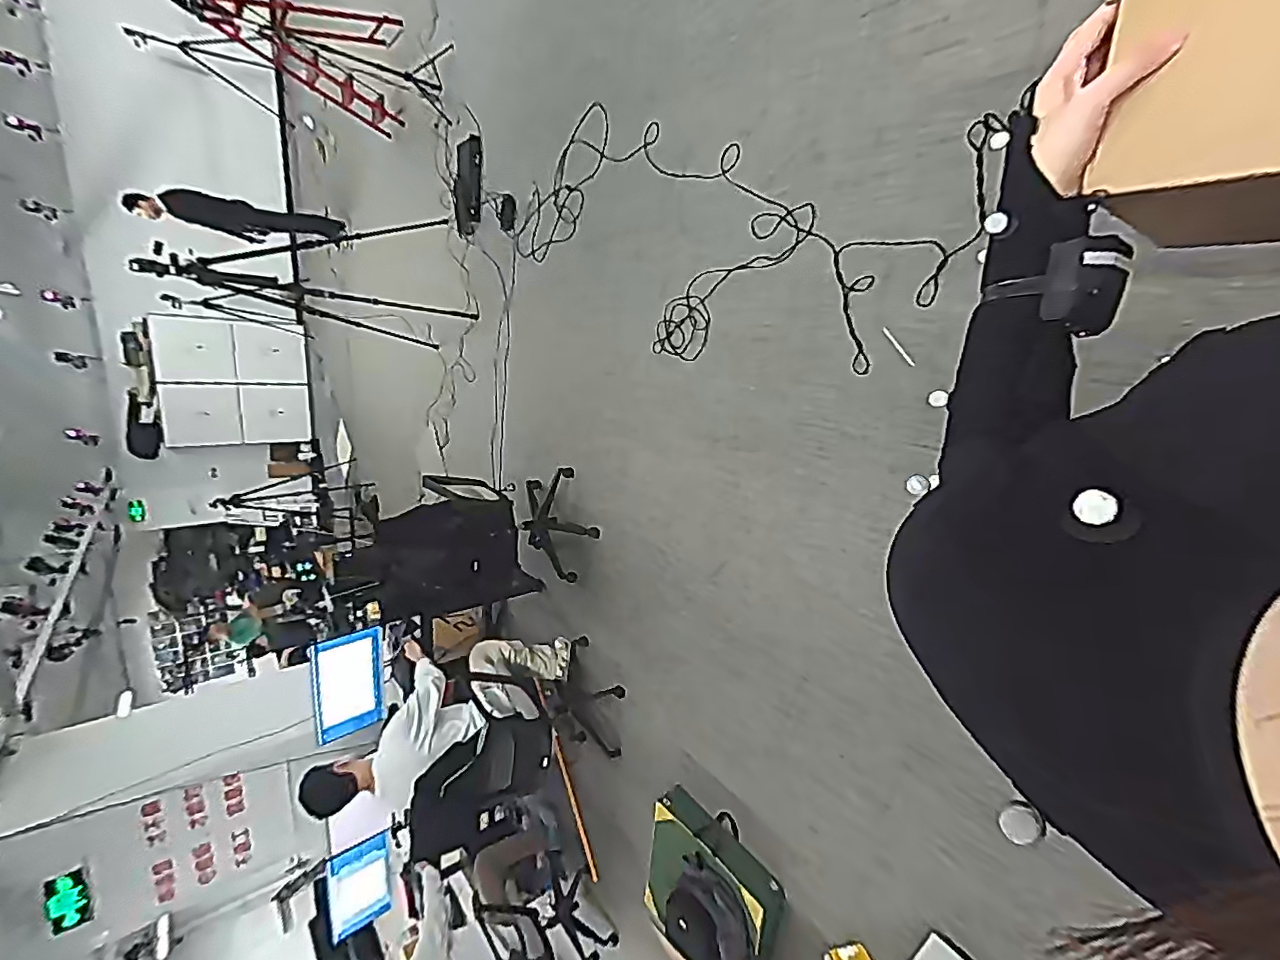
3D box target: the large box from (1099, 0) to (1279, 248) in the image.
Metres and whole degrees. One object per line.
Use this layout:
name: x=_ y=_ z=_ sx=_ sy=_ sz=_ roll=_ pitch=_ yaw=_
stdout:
large box: x=0.585 y=-0.343 z=0.317 sx=0.408 sy=0.320 sz=0.320 roll=18 pitch=112 yaw=47
